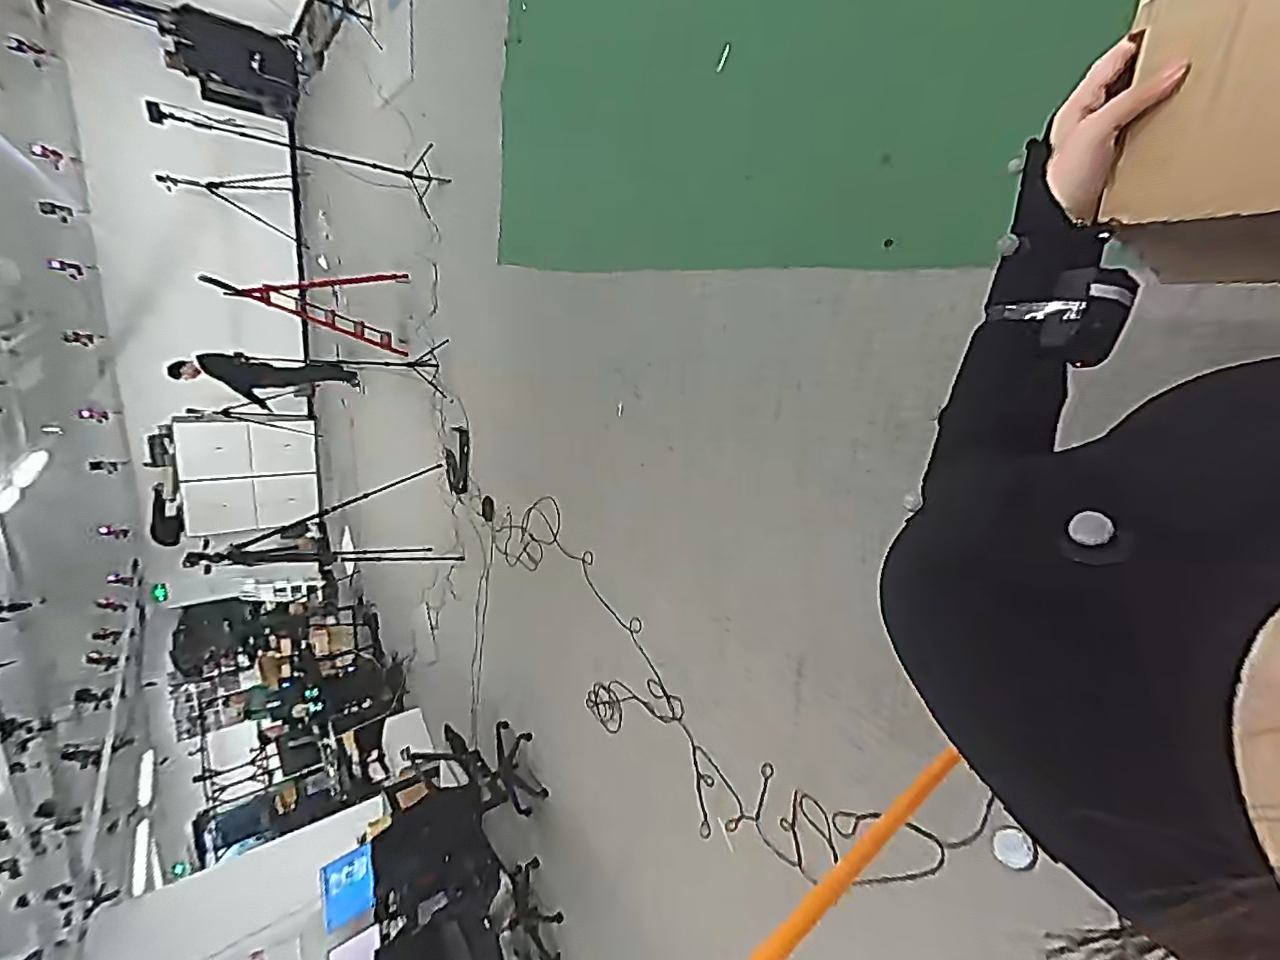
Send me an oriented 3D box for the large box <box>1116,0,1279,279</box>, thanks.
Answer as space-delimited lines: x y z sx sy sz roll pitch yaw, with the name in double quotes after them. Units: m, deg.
0.603 -0.315 0.325 0.408 0.320 0.320 19 110 46 "large box"
